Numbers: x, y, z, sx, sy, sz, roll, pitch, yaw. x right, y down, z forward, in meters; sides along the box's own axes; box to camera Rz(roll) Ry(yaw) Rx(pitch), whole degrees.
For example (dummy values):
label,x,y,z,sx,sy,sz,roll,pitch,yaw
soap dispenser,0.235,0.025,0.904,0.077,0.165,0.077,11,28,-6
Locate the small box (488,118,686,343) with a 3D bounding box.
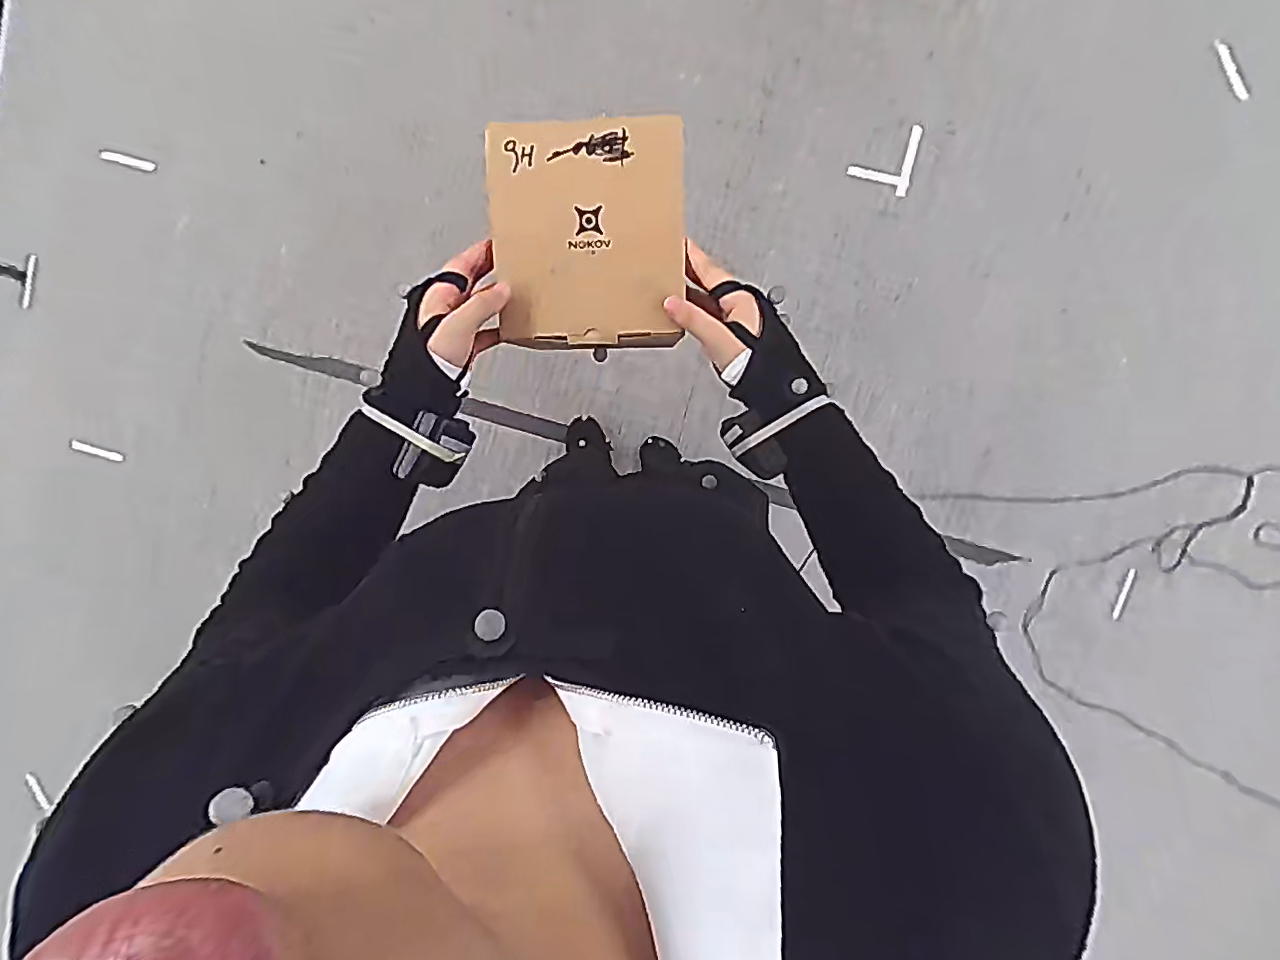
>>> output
label,x,y,z,sx,sy,sz,roll,pitch,yaw
small box,-0.042,-0.227,0.537,0.168,0.176,0.179,0,102,1
